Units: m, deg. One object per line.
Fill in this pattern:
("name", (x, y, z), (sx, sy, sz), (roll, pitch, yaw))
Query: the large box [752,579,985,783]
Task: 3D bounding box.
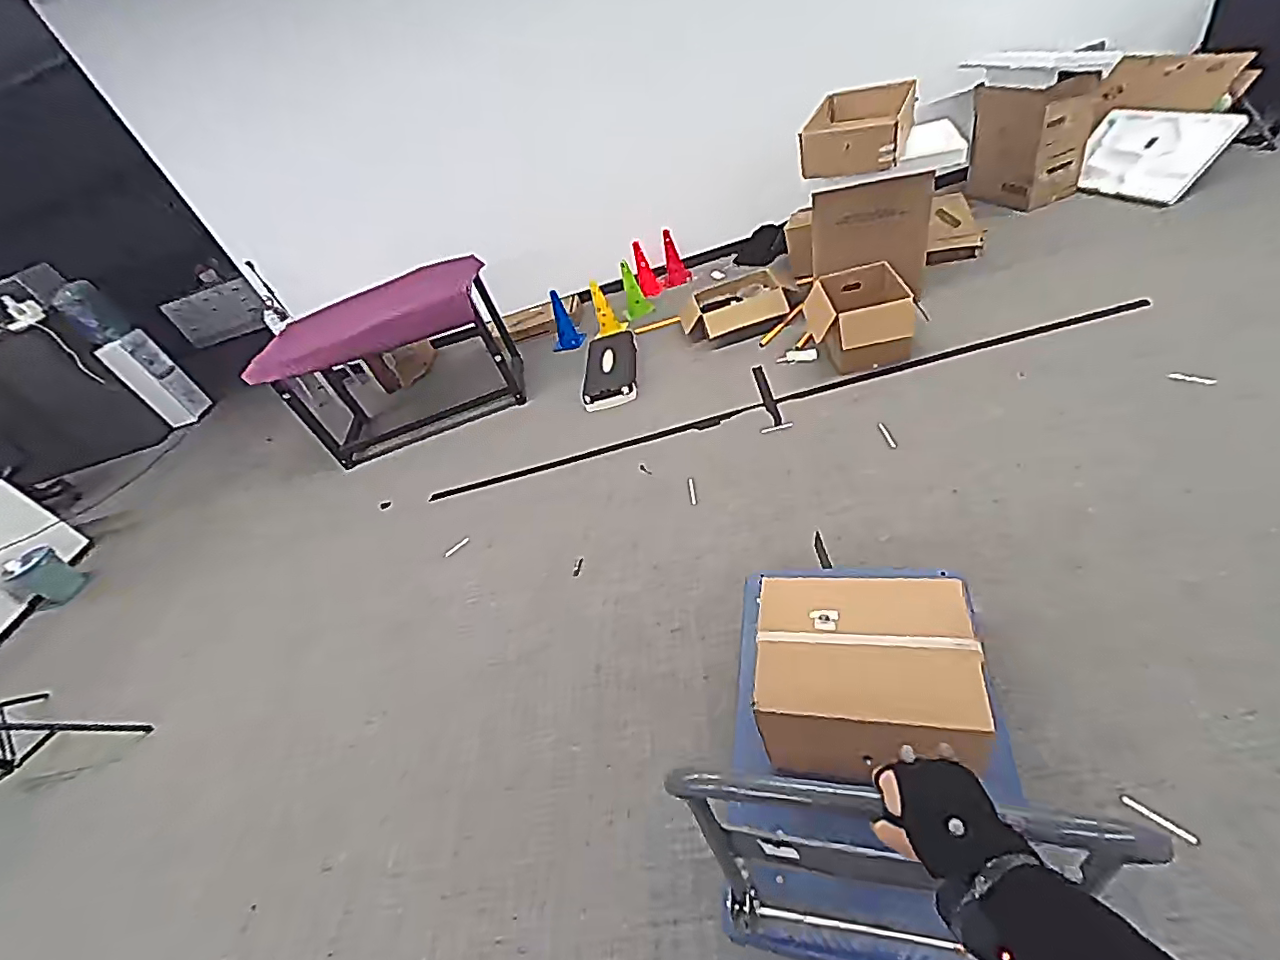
("large box", (0.480, 0.435, 1.187), (0.408, 0.320, 0.320), (-5, 42, 21))
